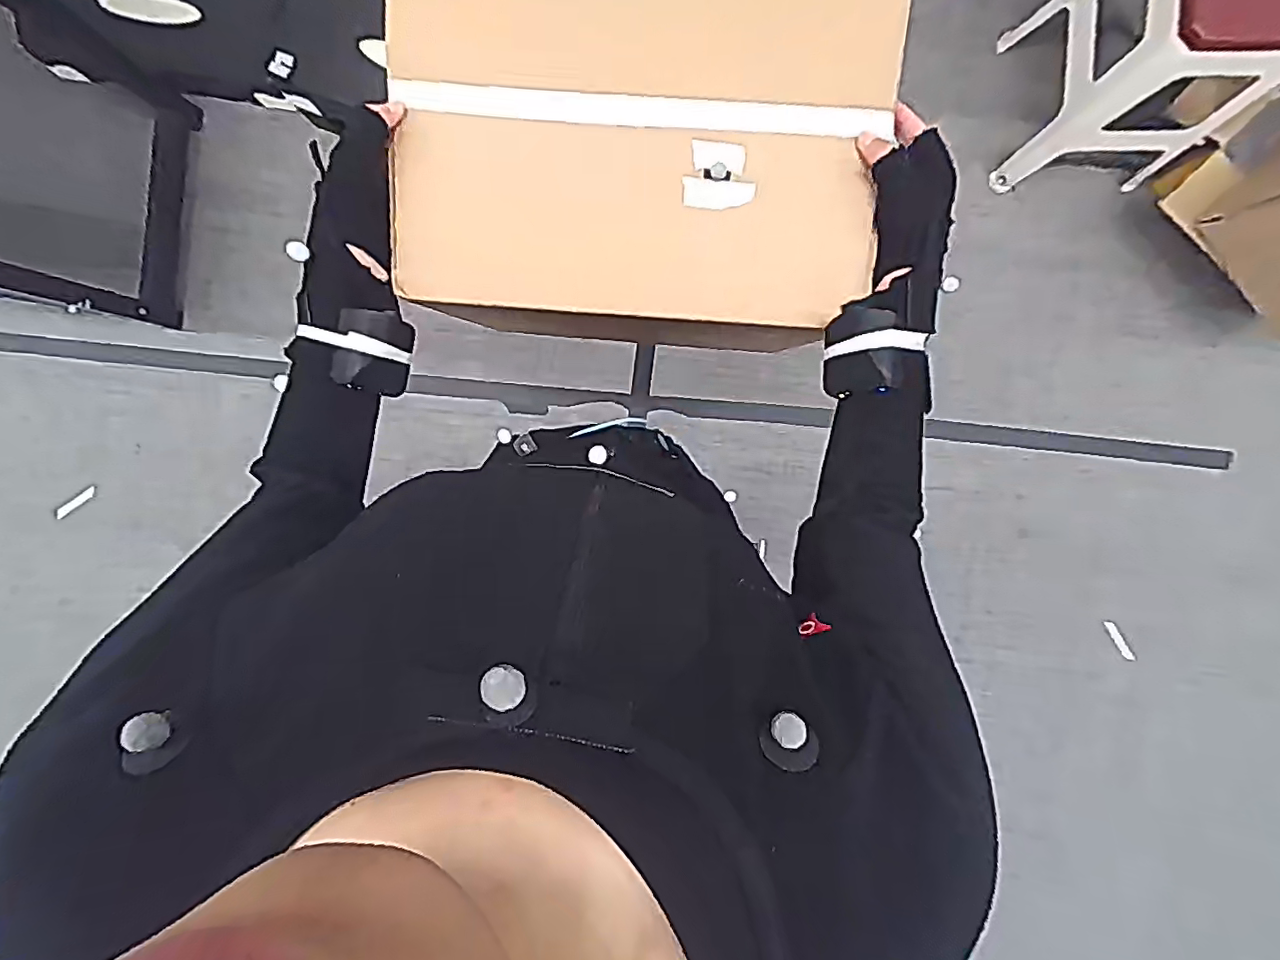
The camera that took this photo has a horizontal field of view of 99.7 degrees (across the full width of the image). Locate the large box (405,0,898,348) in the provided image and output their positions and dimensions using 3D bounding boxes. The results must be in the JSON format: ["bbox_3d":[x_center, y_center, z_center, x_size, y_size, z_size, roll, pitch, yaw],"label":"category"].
[{"bbox_3d":[0.003,-0.323,0.596,0.408,0.320,0.320,4,101,0],"label":"large box"}]
